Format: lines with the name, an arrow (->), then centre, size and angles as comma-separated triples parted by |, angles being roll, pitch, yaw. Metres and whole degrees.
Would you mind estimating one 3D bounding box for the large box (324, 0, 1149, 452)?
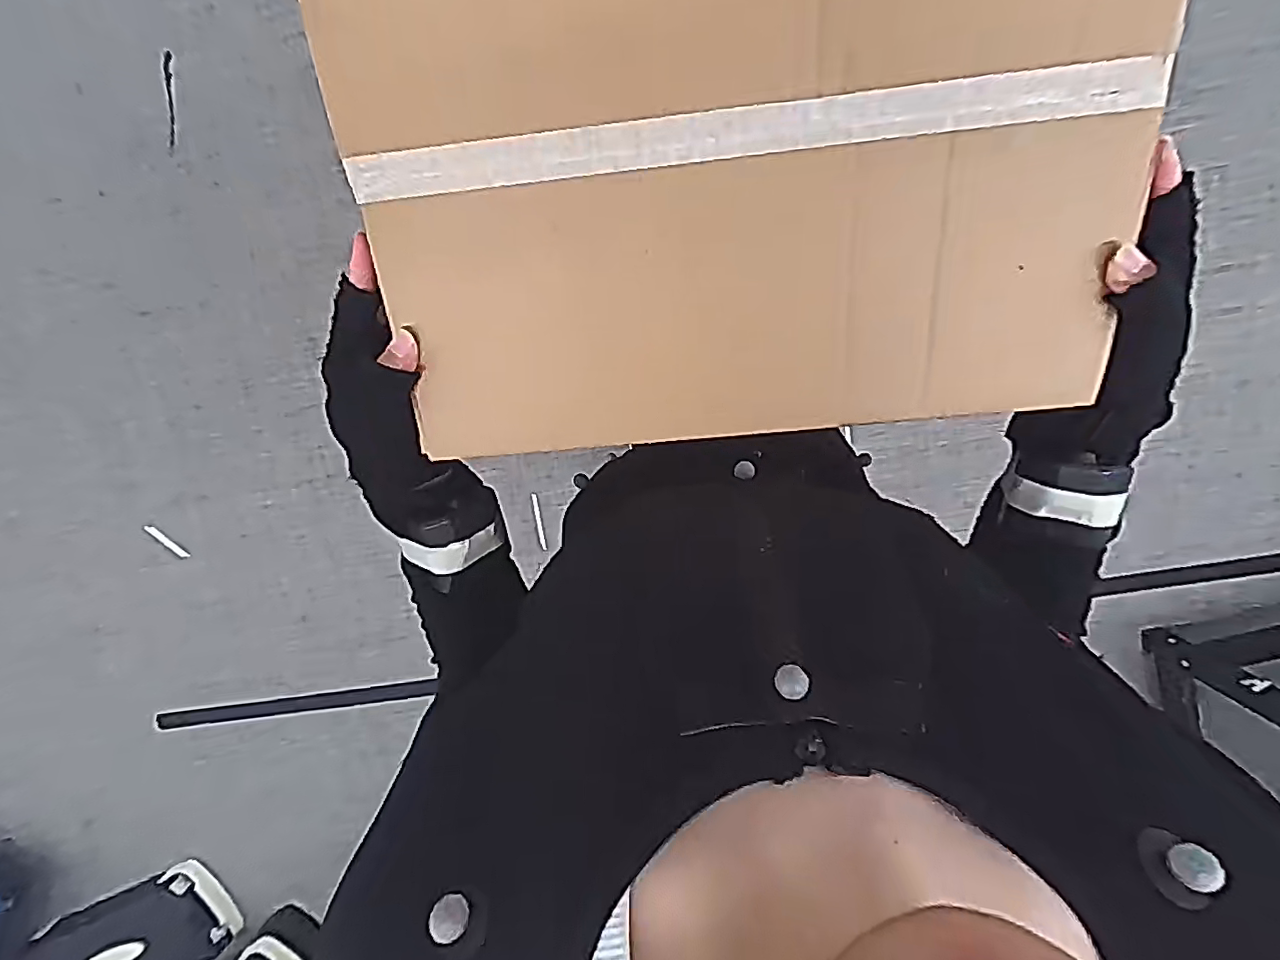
large box -> 0.051, -0.233, 0.424 | 0.408, 0.320, 0.320 | -5, 113, 3
